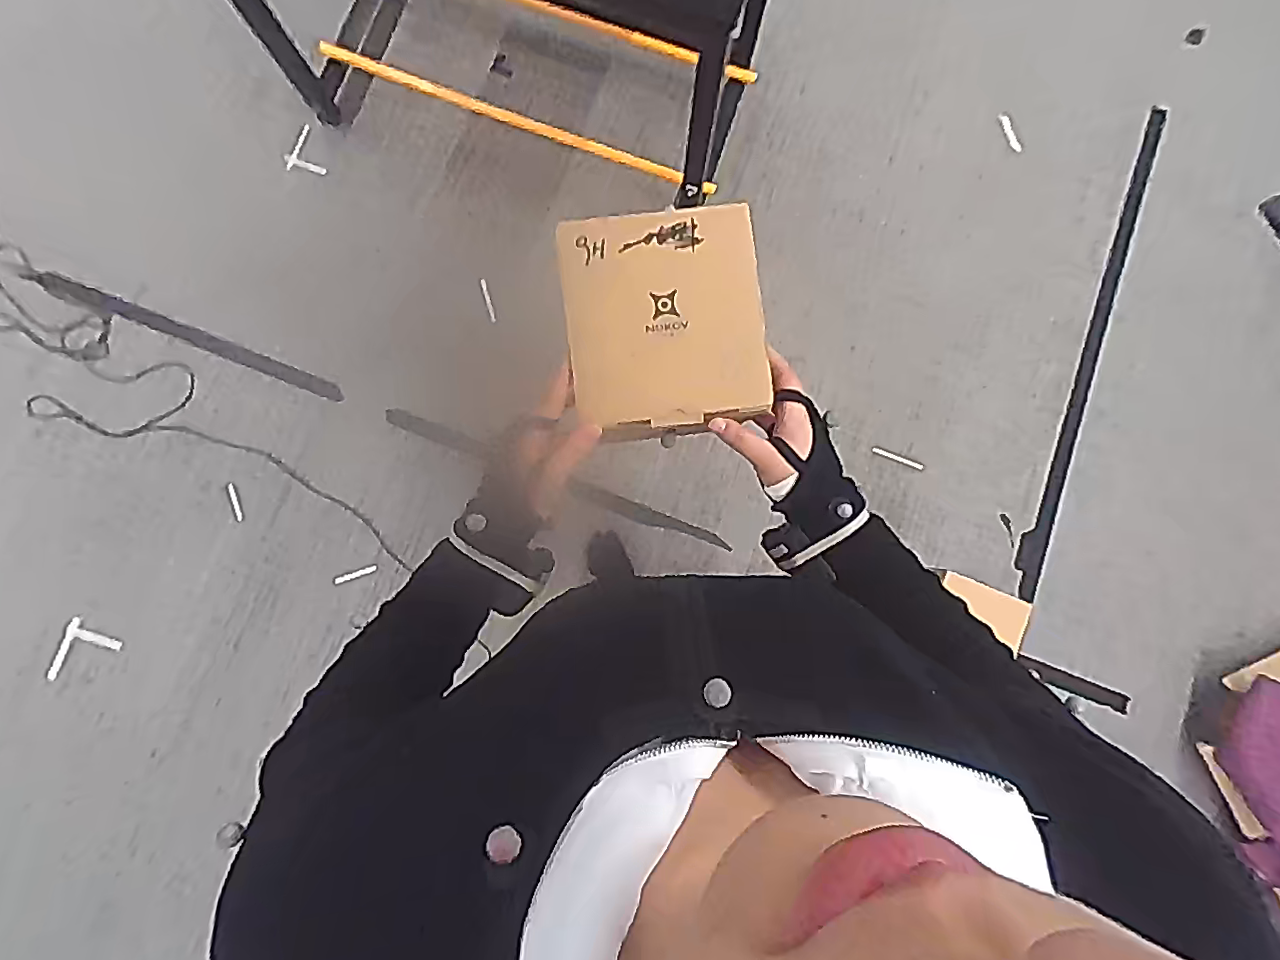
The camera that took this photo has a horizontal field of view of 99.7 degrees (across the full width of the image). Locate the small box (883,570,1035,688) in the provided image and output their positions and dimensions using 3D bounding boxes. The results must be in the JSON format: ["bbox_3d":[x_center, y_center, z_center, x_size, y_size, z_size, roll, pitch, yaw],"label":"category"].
[{"bbox_3d":[0.631,0.287,1.088,0.179,0.176,0.168,23,83,2],"label":"small box"}]

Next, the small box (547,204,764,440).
[{"bbox_3d":[0.013,-0.133,0.525,0.168,0.176,0.179,-8,91,-2],"label":"small box"}]
